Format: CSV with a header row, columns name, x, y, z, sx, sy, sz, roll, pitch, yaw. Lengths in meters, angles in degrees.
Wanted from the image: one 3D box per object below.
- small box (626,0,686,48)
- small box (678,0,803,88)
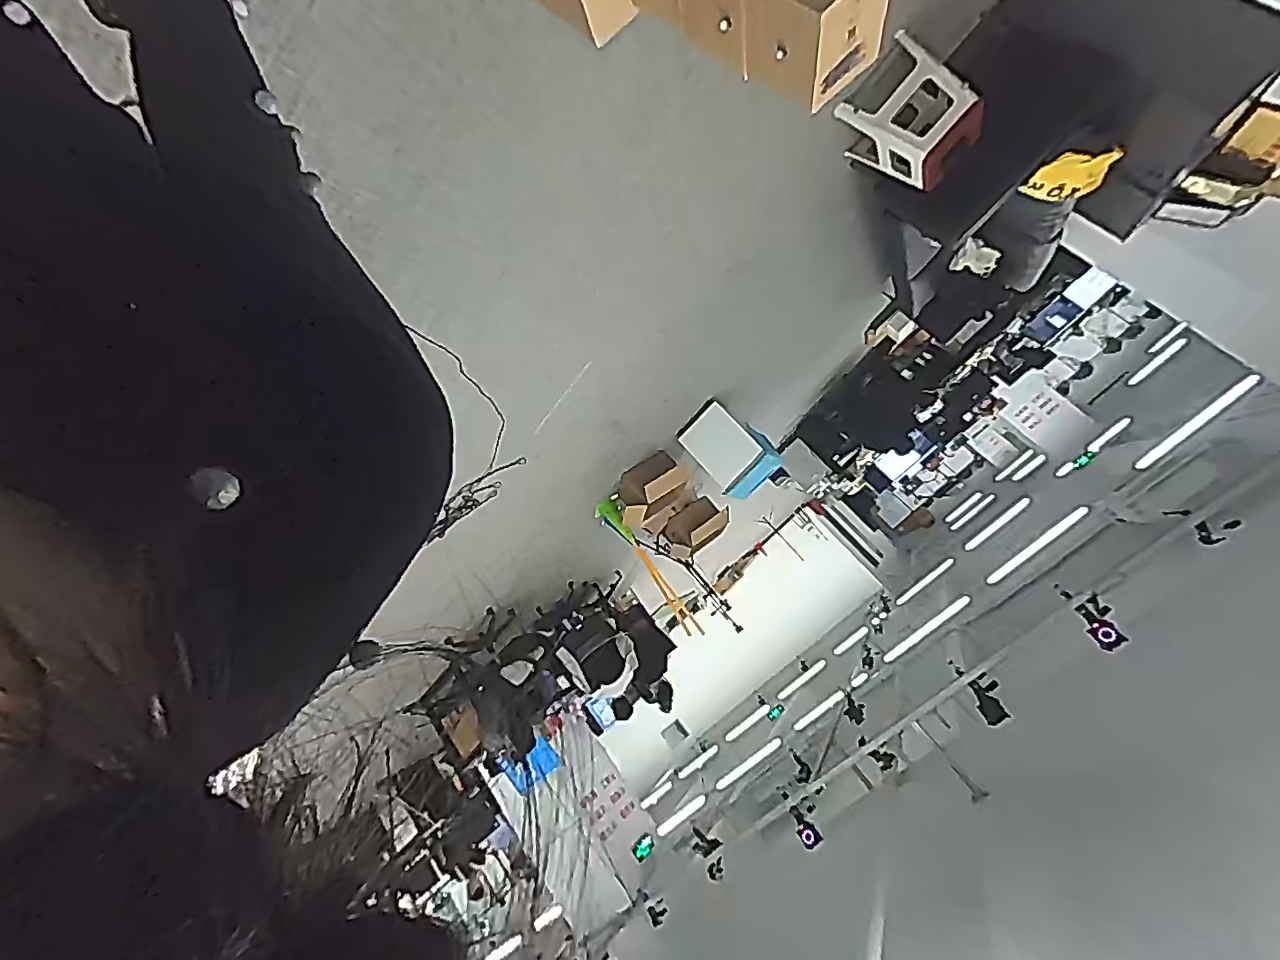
name,x,y,z,sx,sy,sz,roll,pitch,yaw
small box,0.077,-1.004,1.042,0.179,0.176,0.168,-43,160,0
small box,0.183,-0.891,0.996,0.168,0.176,0.179,-43,160,-2
